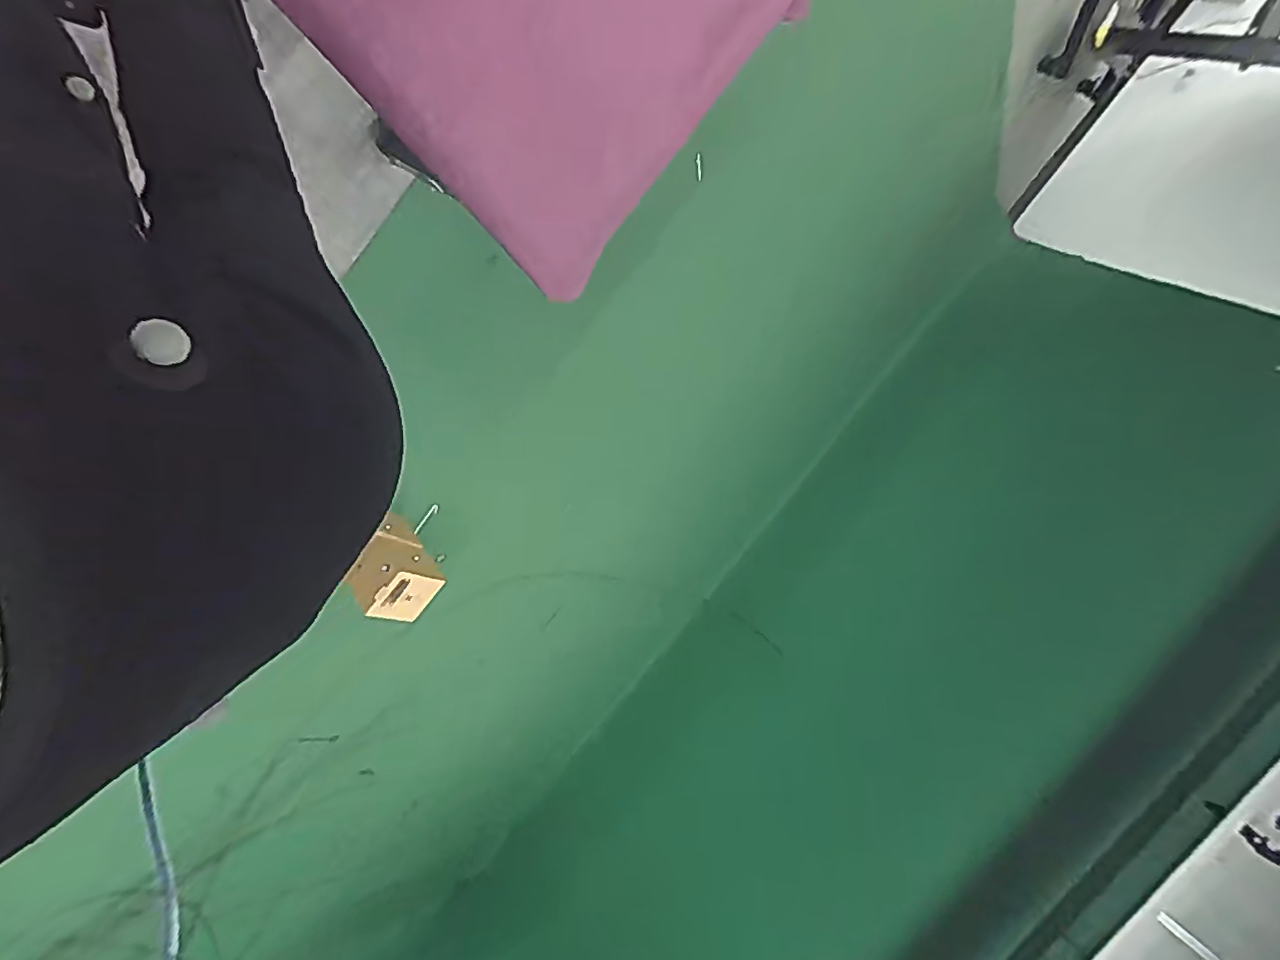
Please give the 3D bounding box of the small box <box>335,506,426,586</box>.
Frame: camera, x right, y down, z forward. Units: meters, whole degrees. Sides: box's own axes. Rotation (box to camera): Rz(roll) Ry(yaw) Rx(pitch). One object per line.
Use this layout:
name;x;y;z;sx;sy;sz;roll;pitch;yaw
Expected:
small box;-0.825;0.208;1.718;0.168;0.176;0.179;-50;145;2
